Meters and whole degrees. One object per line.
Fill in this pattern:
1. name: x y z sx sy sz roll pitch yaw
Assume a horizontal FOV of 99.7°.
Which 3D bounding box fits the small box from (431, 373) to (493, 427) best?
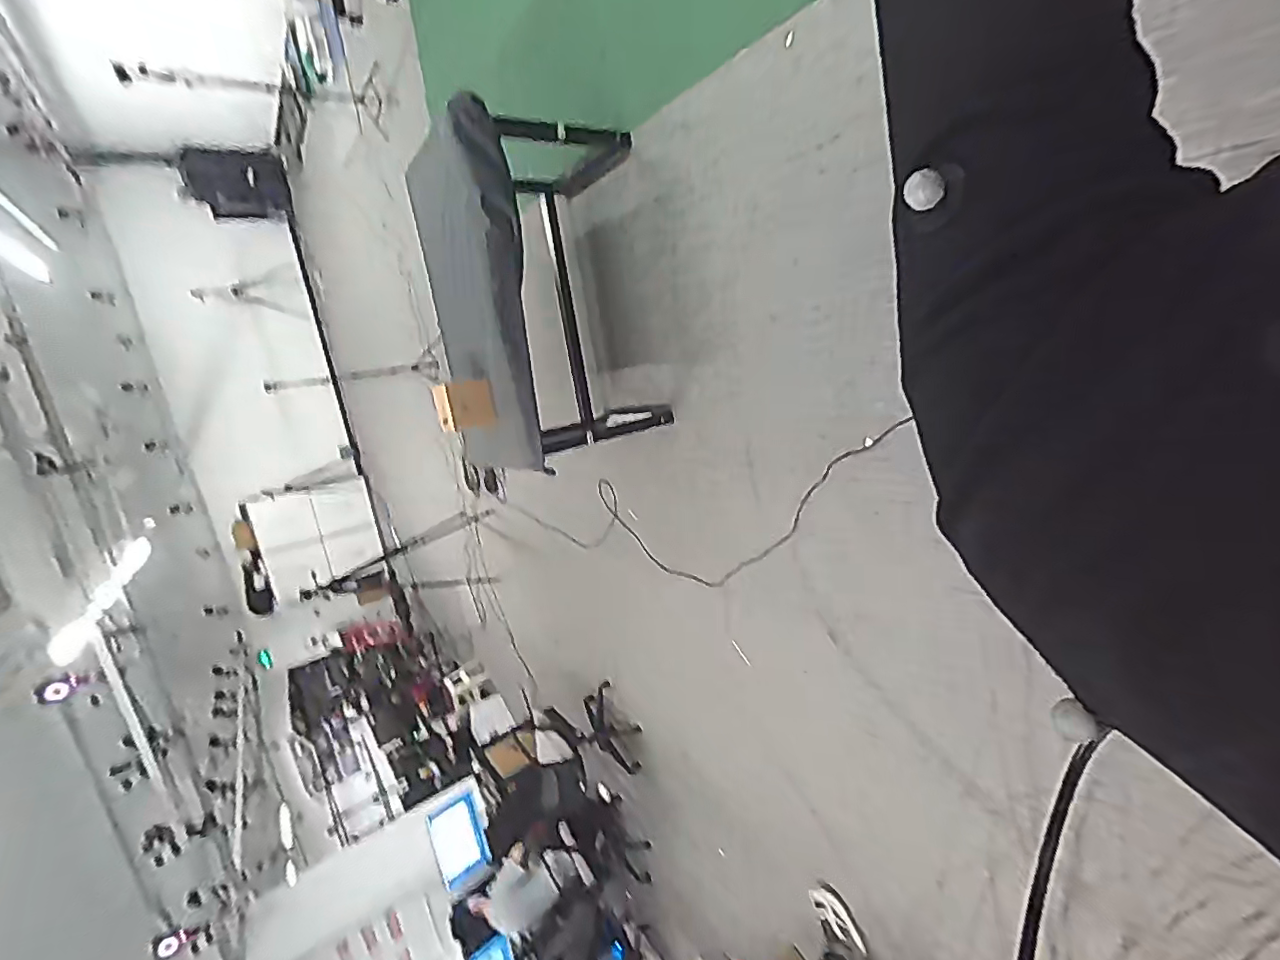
1. small box: -0.680 -0.308 2.081 0.168 0.176 0.179 5 107 54
